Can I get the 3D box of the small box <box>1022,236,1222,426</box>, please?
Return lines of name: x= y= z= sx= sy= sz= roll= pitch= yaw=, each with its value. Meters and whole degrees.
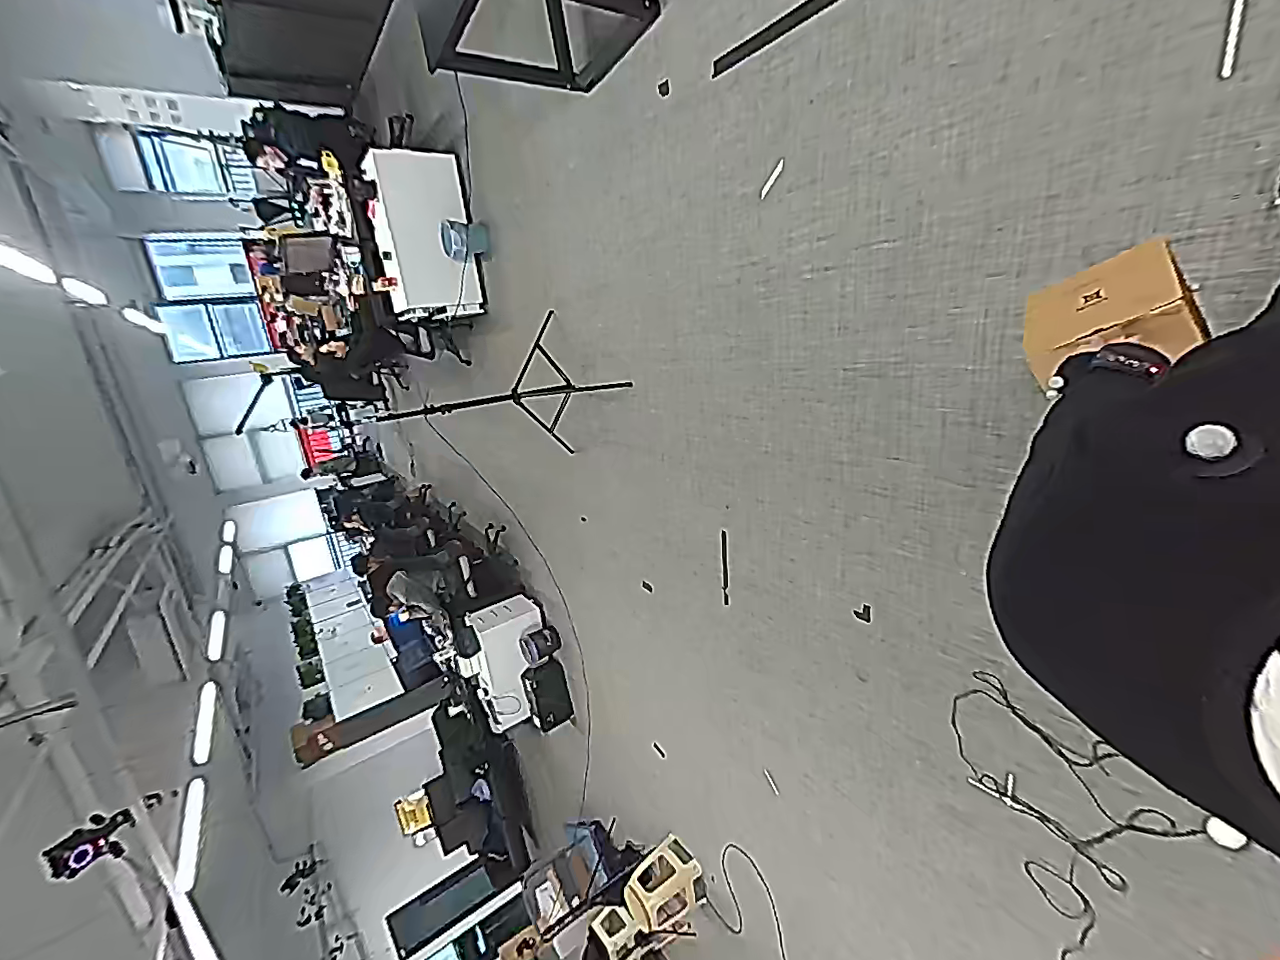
small box: x=0.674 y=-0.197 z=0.767 sx=0.176 sy=0.179 sz=0.168 roll=45 pitch=142 yaw=-18
